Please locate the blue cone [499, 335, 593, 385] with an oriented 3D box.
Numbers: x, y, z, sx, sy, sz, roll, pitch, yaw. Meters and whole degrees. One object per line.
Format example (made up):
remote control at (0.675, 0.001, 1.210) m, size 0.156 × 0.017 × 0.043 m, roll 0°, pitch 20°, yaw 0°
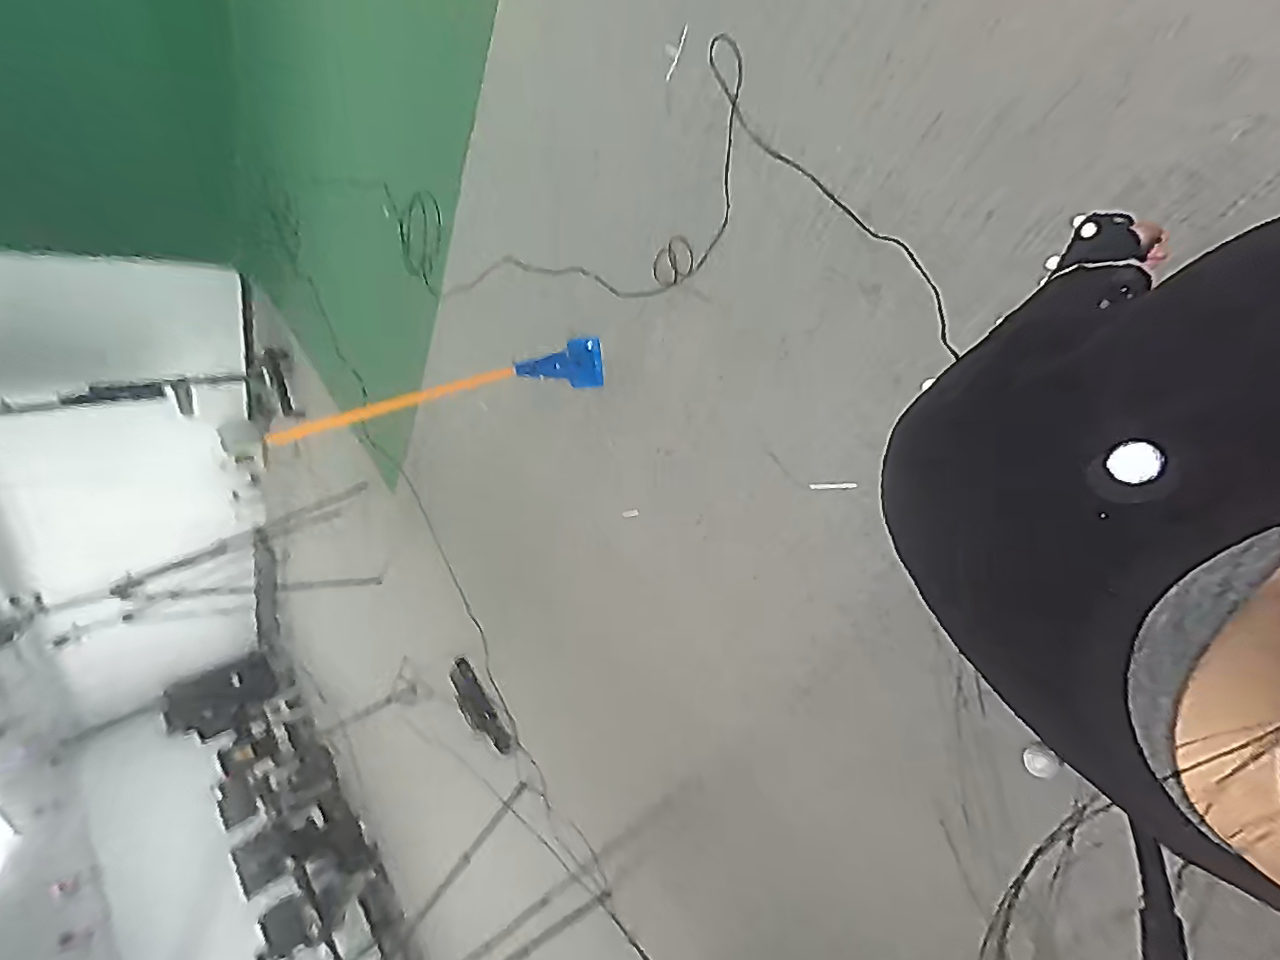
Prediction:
blue cone at (-0.370, -0.447, 2.080) m, size 0.192 × 0.380 × 0.193 m, roll 4°, pitch 107°, yaw 41°
